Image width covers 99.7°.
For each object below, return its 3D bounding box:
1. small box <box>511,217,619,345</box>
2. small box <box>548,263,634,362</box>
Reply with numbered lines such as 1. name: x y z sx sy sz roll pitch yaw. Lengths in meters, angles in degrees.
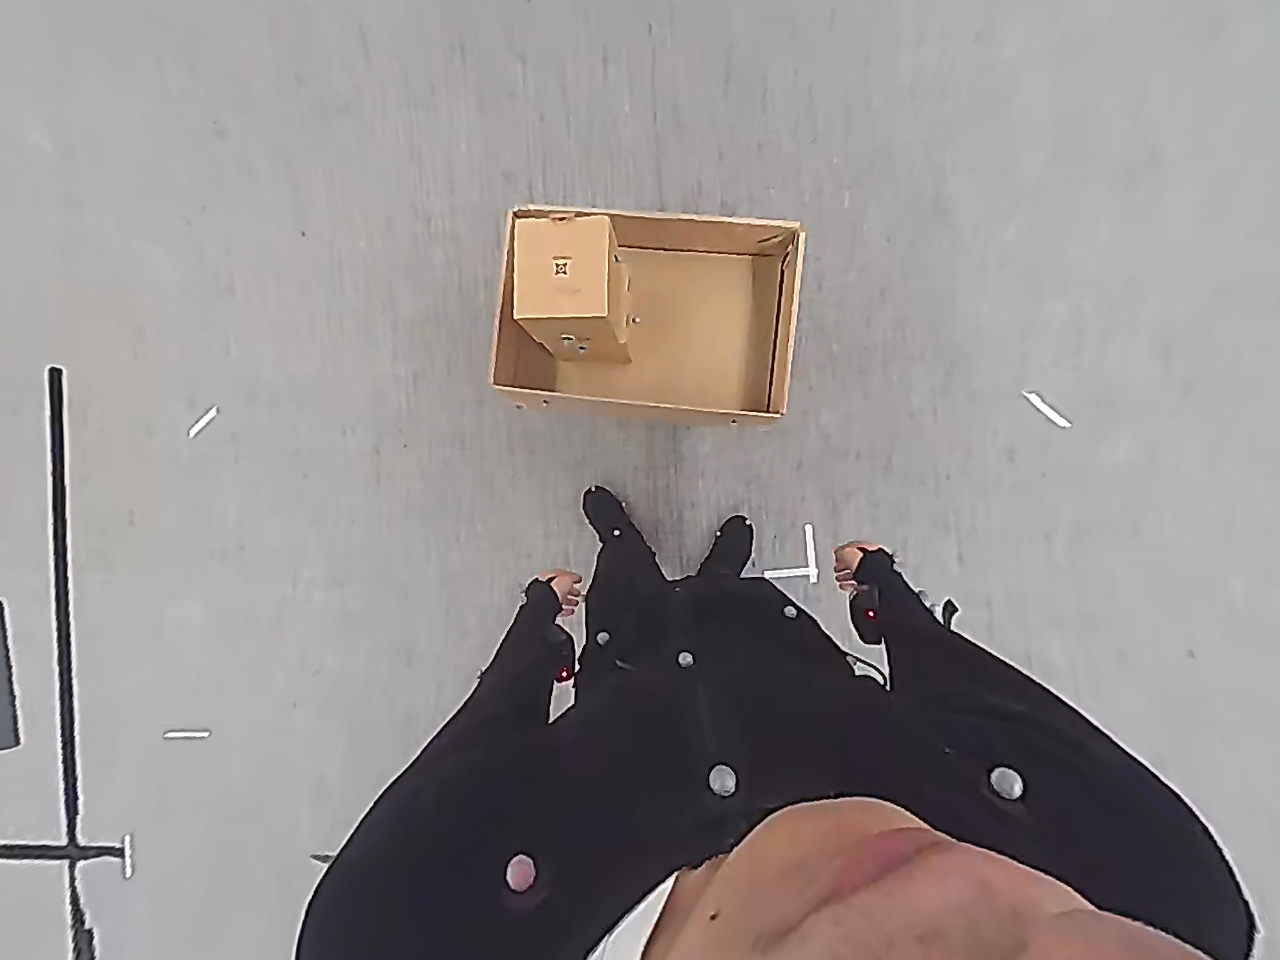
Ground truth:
1. small box: -0.132 -0.360 1.000 0.168 0.176 0.179 0 88 5
2. small box: -0.111 -0.354 1.163 0.179 0.176 0.168 3 89 3
